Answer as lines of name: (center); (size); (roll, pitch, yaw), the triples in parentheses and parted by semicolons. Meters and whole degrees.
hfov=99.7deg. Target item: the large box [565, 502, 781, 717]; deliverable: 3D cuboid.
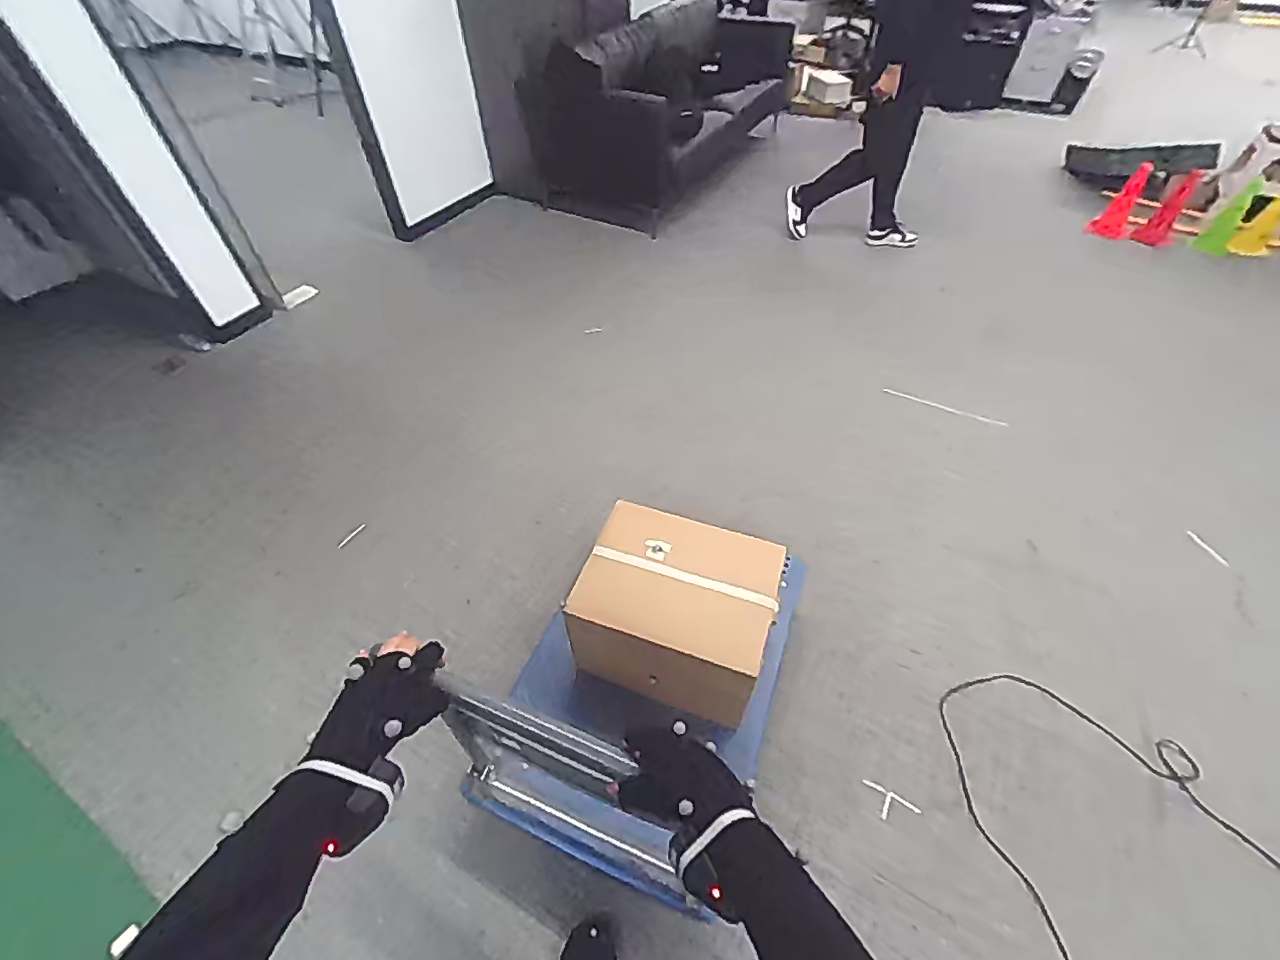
large box: (0.087, 0.303, 1.269); (0.408, 0.320, 0.320); (14, 50, 14)
